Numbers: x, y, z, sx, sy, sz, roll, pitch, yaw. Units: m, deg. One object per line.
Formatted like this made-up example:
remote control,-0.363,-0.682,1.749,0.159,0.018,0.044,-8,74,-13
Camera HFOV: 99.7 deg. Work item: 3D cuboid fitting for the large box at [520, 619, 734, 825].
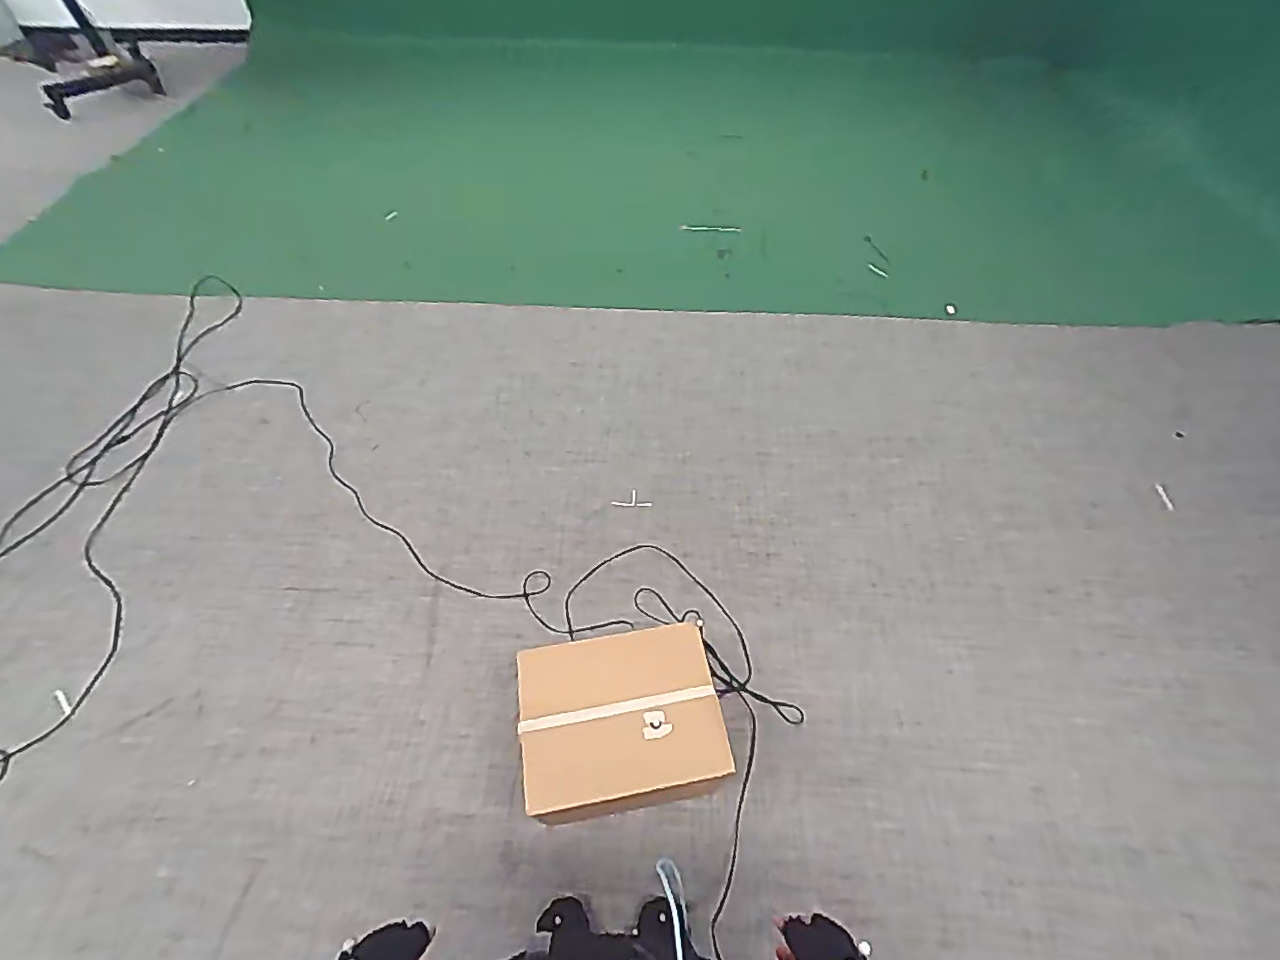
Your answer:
large box,-0.043,0.553,1.230,0.408,0.320,0.320,-8,55,-8
